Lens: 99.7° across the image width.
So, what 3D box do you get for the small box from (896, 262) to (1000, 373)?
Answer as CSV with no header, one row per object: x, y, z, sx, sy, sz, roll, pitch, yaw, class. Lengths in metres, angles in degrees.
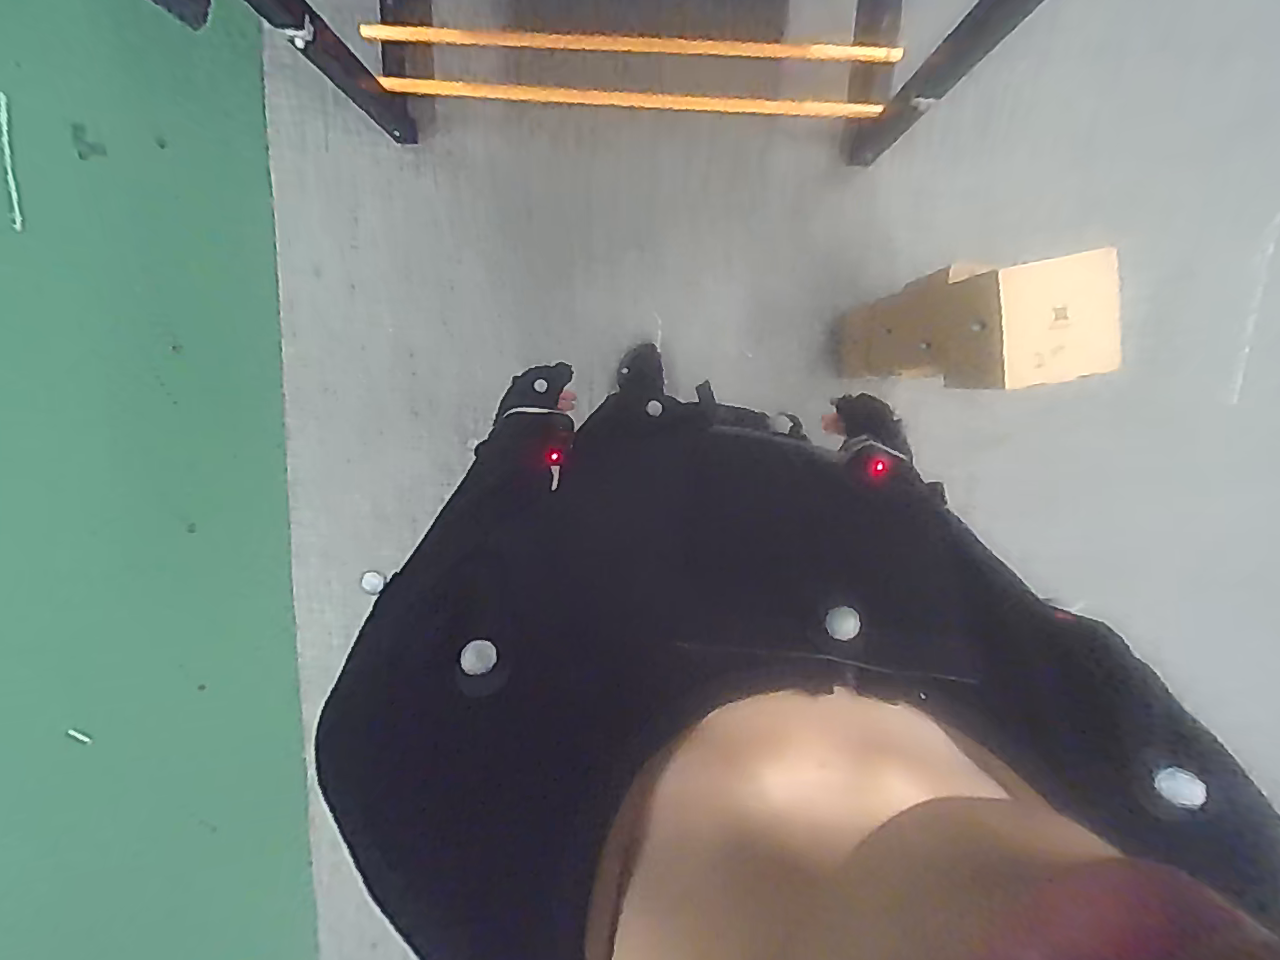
0.596,-0.290,1.000,0.168,0.176,0.179,3,101,1,small box

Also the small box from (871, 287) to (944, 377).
0.612,-0.312,1.161,0.168,0.176,0.179,1,99,1,small box

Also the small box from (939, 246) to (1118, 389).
0.592,-0.241,0.843,0.168,0.176,0.179,-10,101,3,small box
